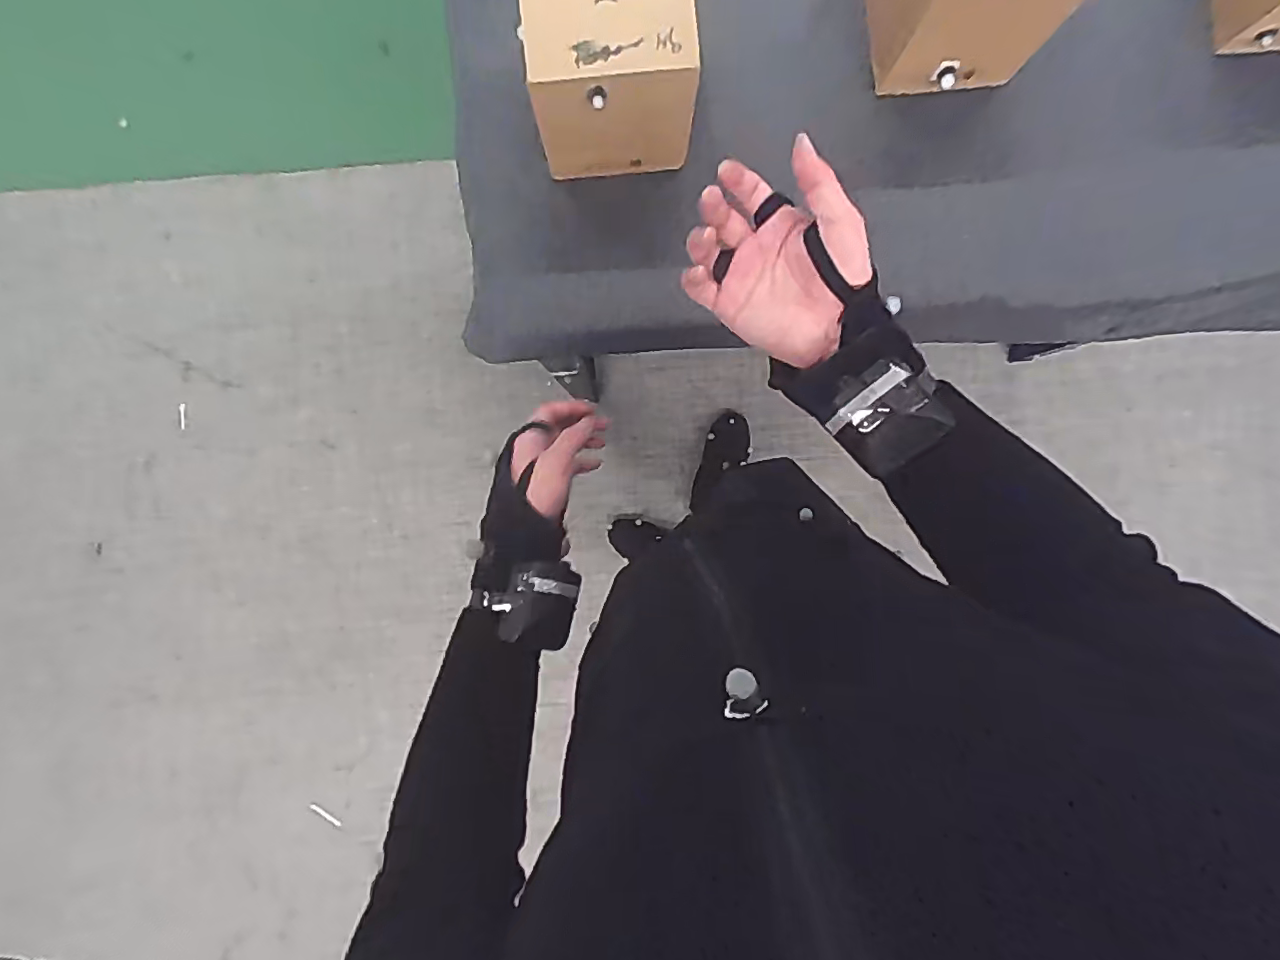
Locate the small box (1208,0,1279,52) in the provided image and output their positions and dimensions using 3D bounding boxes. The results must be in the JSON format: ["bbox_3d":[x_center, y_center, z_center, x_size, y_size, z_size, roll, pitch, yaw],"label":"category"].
[{"bbox_3d":[0.782,-0.607,0.588,0.168,0.176,0.179,-3,90,0],"label":"small box"}]

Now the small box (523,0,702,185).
[{"bbox_3d":[-0.031,-0.455,0.586,0.168,0.176,0.179,-6,90,0],"label":"small box"}]

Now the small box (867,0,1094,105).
[{"bbox_3d":[0.364,-0.557,0.590,0.168,0.176,0.179,-6,92,1],"label":"small box"}]
